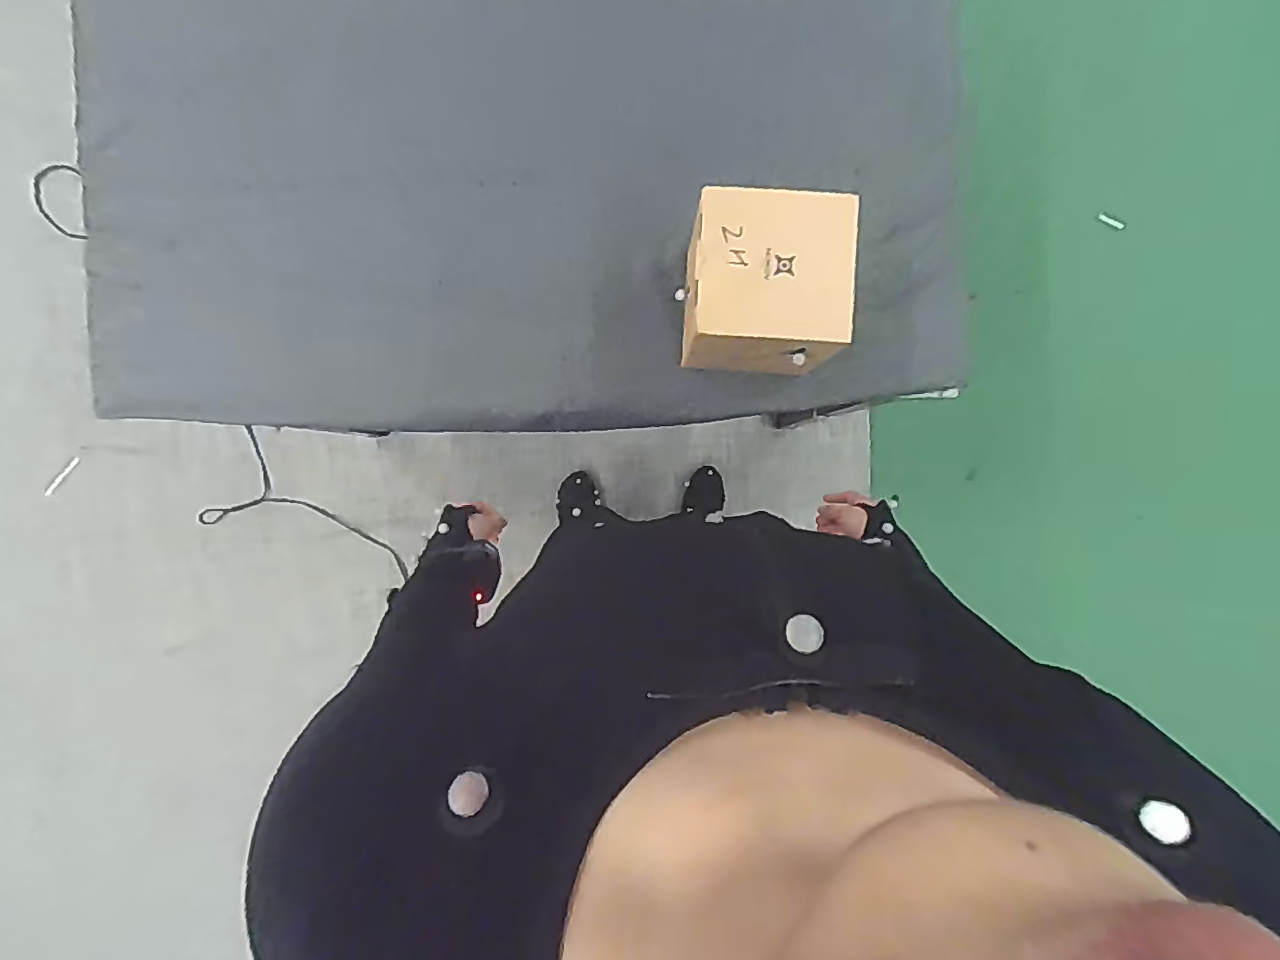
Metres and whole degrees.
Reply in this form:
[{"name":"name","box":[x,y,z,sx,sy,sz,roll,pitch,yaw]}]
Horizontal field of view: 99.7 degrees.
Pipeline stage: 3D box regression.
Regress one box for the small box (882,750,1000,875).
[{"name":"small box","box":[0.665,0.731,1.212,0.168,0.176,0.179,-9,94,1]}]

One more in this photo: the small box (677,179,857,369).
[{"name":"small box","box":[0.143,-0.237,0.661,0.179,0.176,0.168,3,89,0]}]

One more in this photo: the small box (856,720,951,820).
[{"name":"small box","box":[0.665,0.730,1.377,0.168,0.176,0.179,1,91,0]}]
